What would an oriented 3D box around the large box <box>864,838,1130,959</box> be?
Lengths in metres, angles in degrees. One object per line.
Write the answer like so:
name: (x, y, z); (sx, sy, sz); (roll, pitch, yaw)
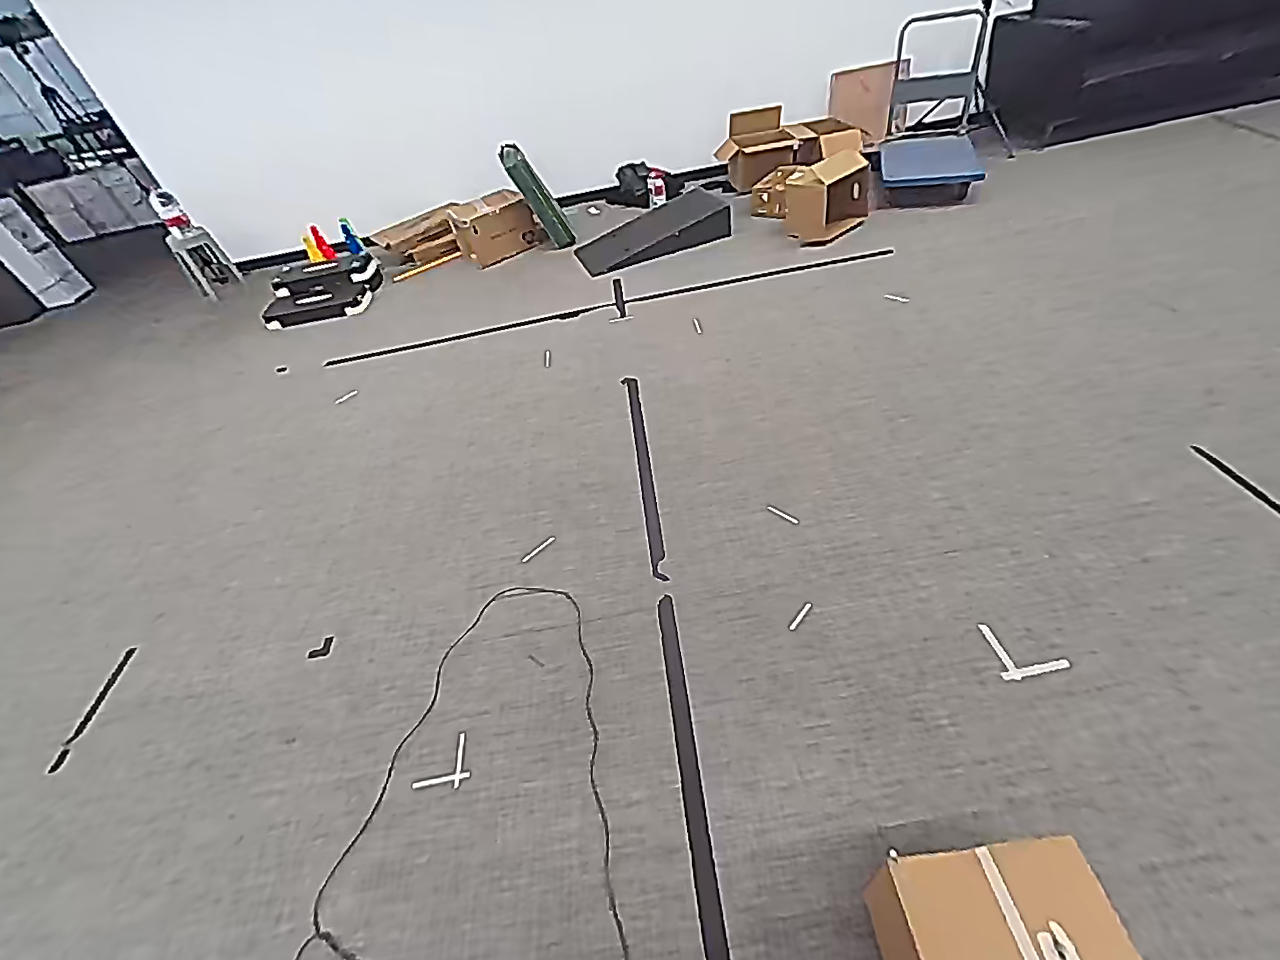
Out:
large box: (0.610, 0.878, 0.886); (0.320, 0.320, 0.408); (-8, 43, 2)
